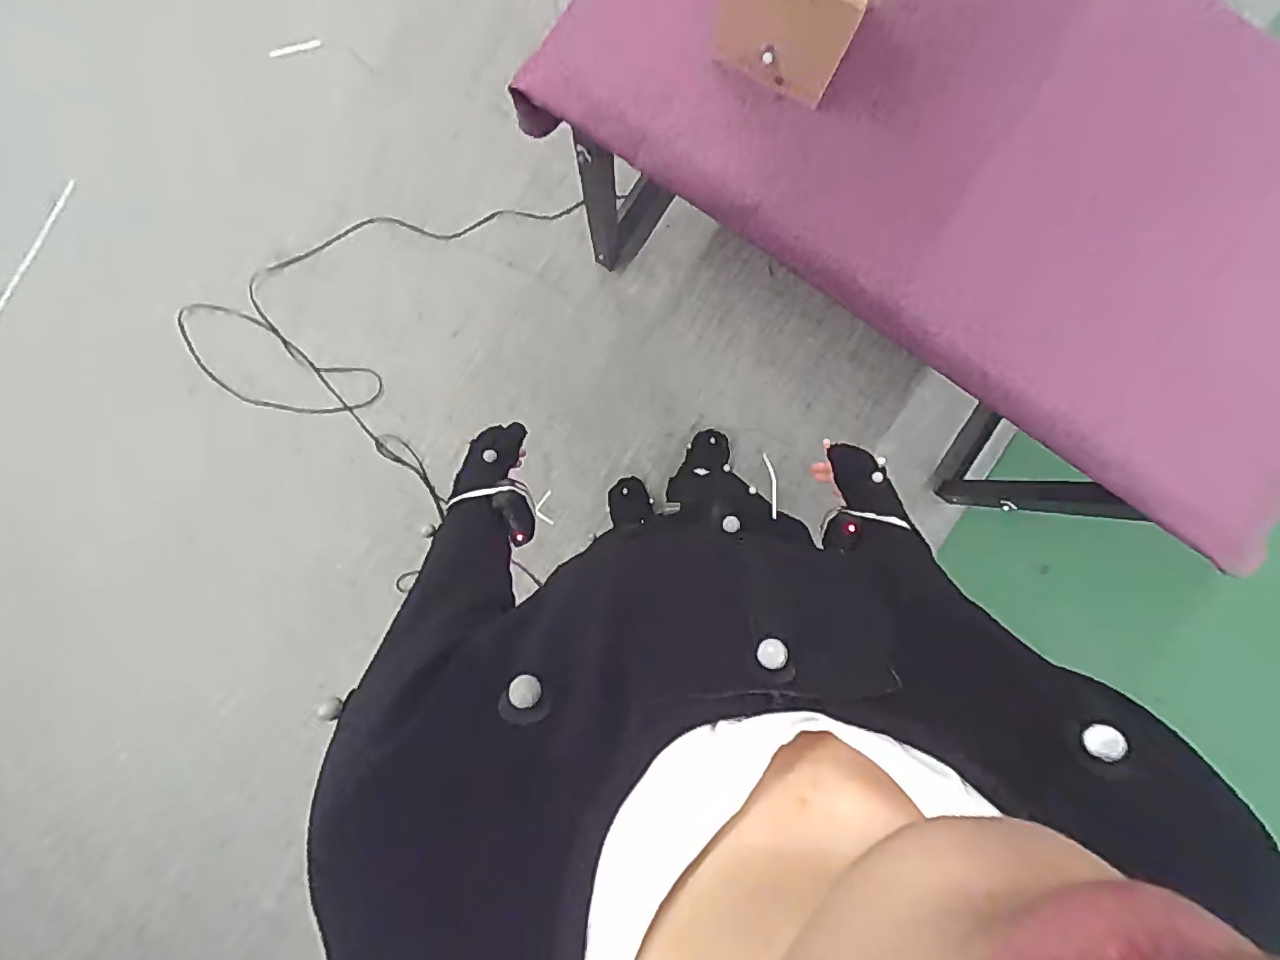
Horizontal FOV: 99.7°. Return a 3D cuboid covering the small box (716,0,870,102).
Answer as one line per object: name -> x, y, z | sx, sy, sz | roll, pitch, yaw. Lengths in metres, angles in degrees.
small box -> 0.206, -0.624, 0.658 | 0.168, 0.176, 0.179 | 27, 91, 0
